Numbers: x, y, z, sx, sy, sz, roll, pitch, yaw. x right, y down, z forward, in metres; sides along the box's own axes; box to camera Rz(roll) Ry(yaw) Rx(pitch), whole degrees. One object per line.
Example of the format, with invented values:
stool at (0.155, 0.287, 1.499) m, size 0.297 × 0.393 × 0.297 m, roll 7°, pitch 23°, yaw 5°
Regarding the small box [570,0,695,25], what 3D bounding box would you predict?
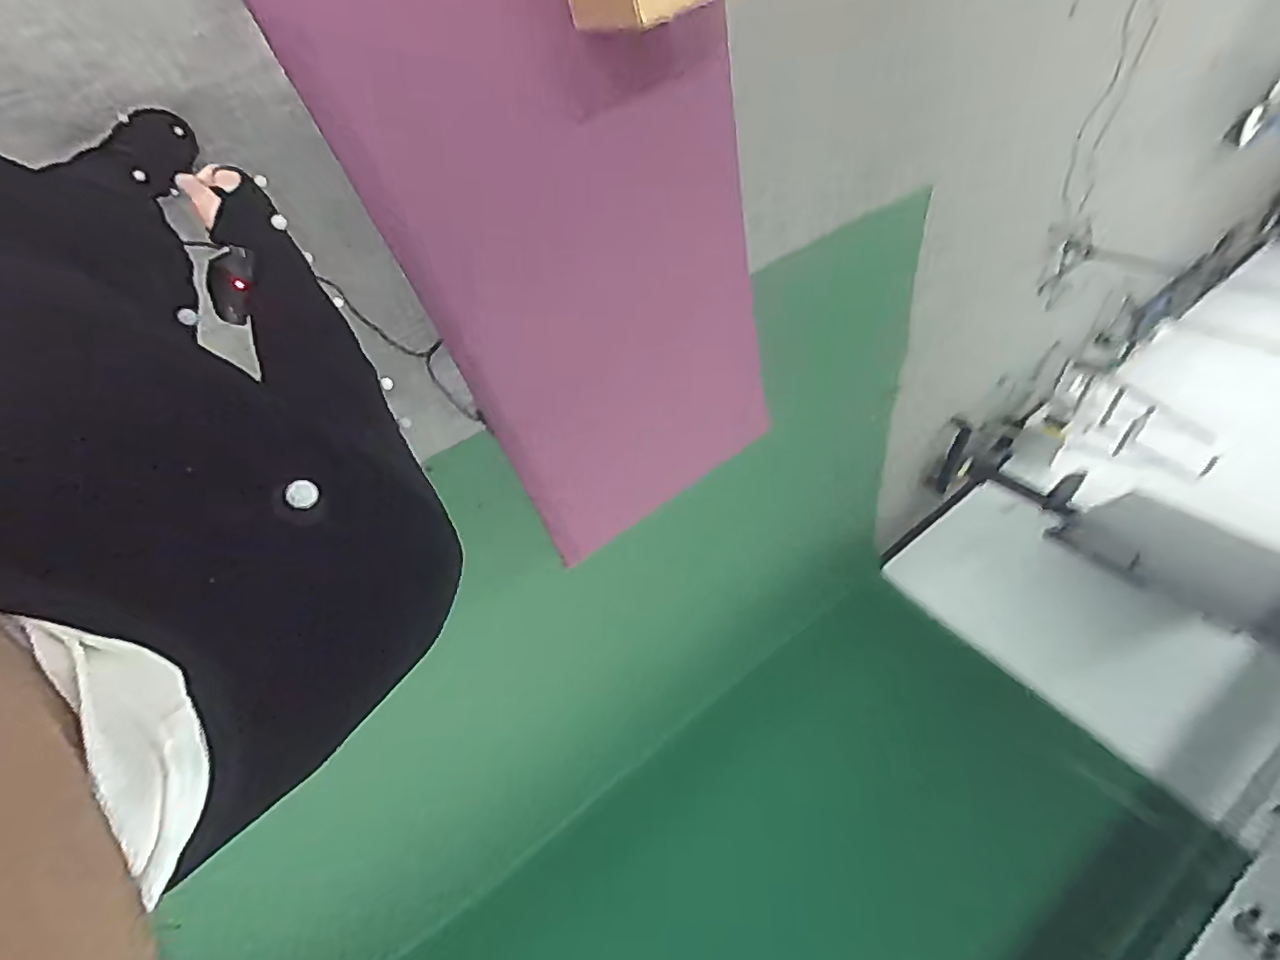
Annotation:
small box at (0.003, -0.687, 0.664) m, size 0.179 × 0.176 × 0.168 m, roll -35°, pitch 138°, yaw -14°
